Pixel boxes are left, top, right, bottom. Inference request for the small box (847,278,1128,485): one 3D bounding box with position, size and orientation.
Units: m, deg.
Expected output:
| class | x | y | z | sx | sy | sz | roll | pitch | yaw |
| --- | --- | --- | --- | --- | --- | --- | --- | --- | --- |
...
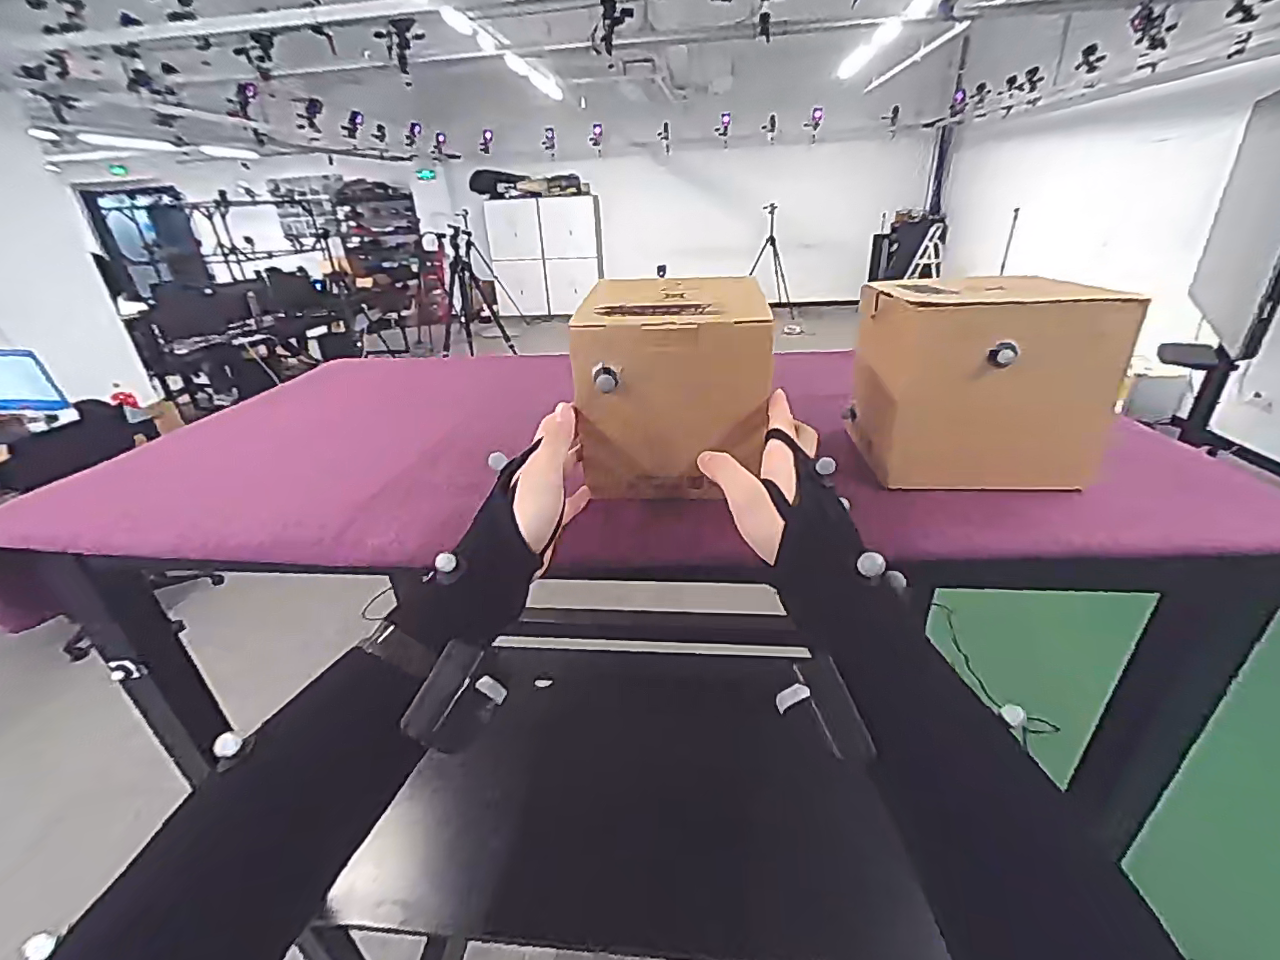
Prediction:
| class | x | y | z | sx | sy | sz | roll | pitch | yaw |
| --- | --- | --- | --- | --- | --- | --- | --- | --- | --- |
| small box | 0.317 | -0.103 | 0.543 | 0.179 | 0.176 | 0.168 | 1 | 27 | 6 |
